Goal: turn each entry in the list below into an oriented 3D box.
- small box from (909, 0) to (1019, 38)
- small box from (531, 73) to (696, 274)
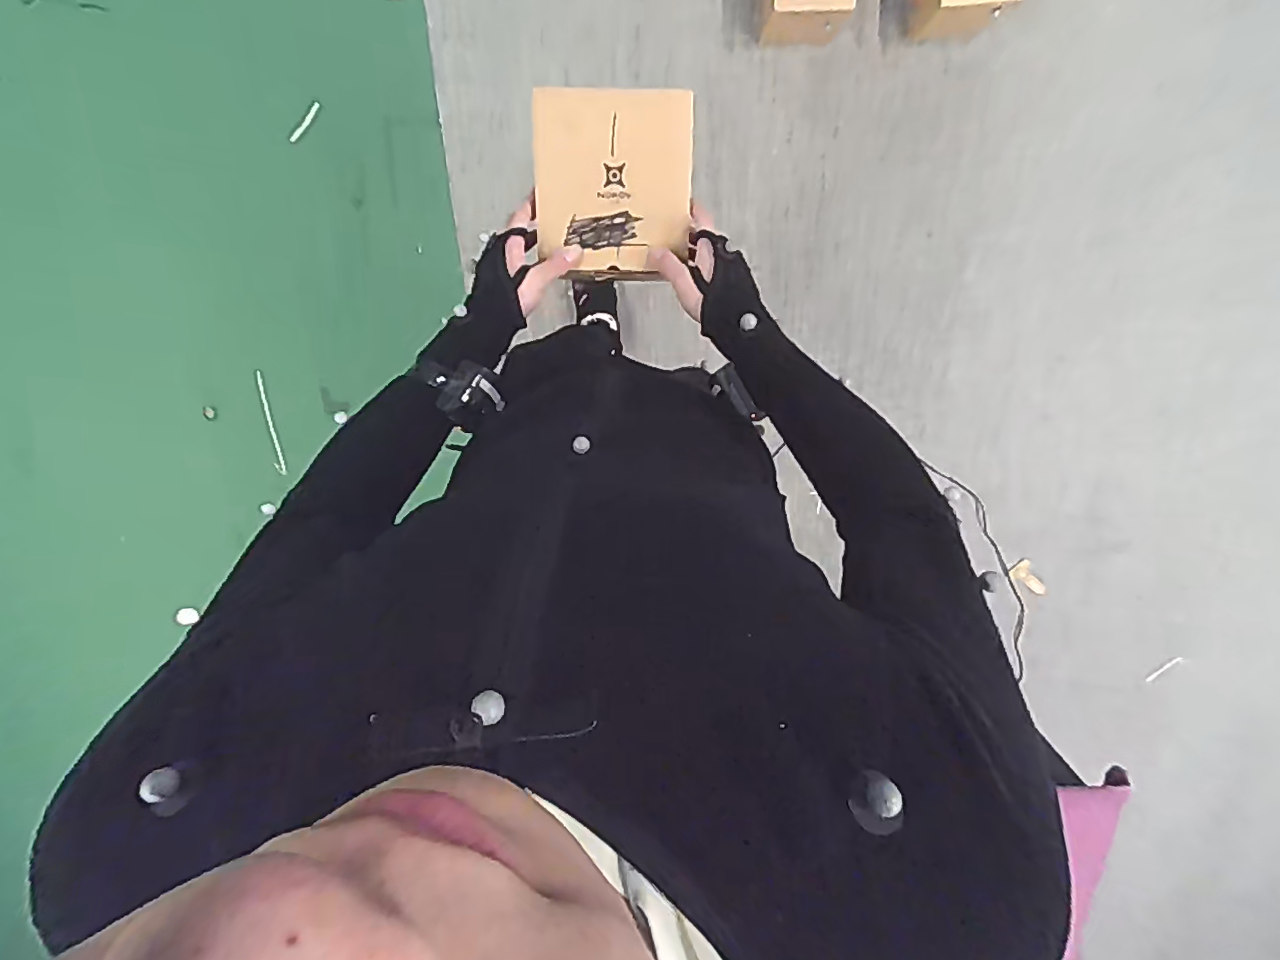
[{"bbox_3d":[0.707,-1.092,1.169,0.179,0.176,0.168,-4,109,1],"label":"small box"},{"bbox_3d":[-0.030,-0.338,0.631,0.168,0.176,0.179,1,107,-2],"label":"small box"}]
